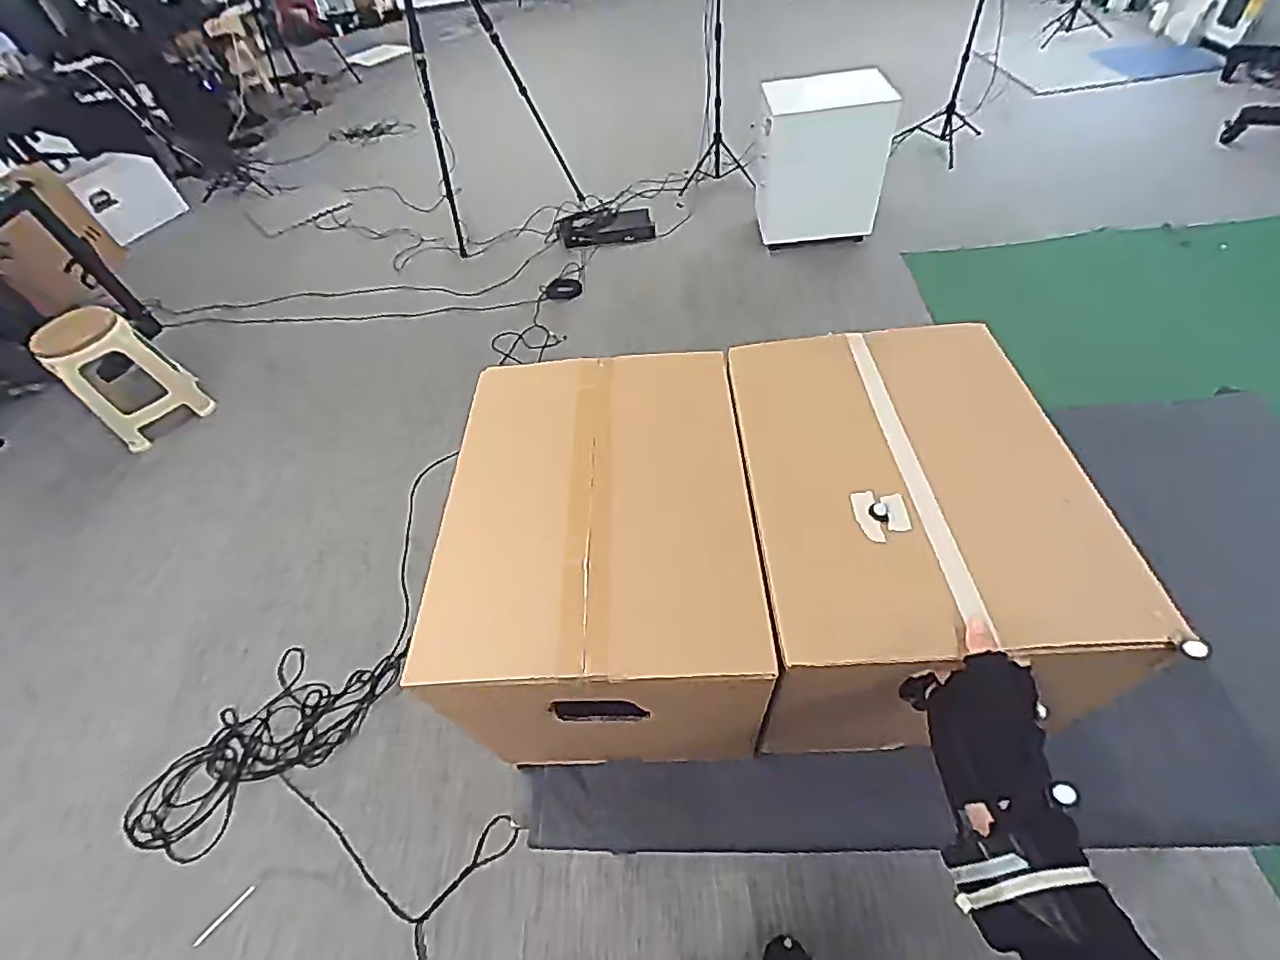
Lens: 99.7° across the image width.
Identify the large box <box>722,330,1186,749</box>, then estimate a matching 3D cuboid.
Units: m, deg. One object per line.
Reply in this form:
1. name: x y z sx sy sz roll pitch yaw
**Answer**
1. large box: 0.280 0.075 0.663 0.320 0.320 0.408 -5 52 5
